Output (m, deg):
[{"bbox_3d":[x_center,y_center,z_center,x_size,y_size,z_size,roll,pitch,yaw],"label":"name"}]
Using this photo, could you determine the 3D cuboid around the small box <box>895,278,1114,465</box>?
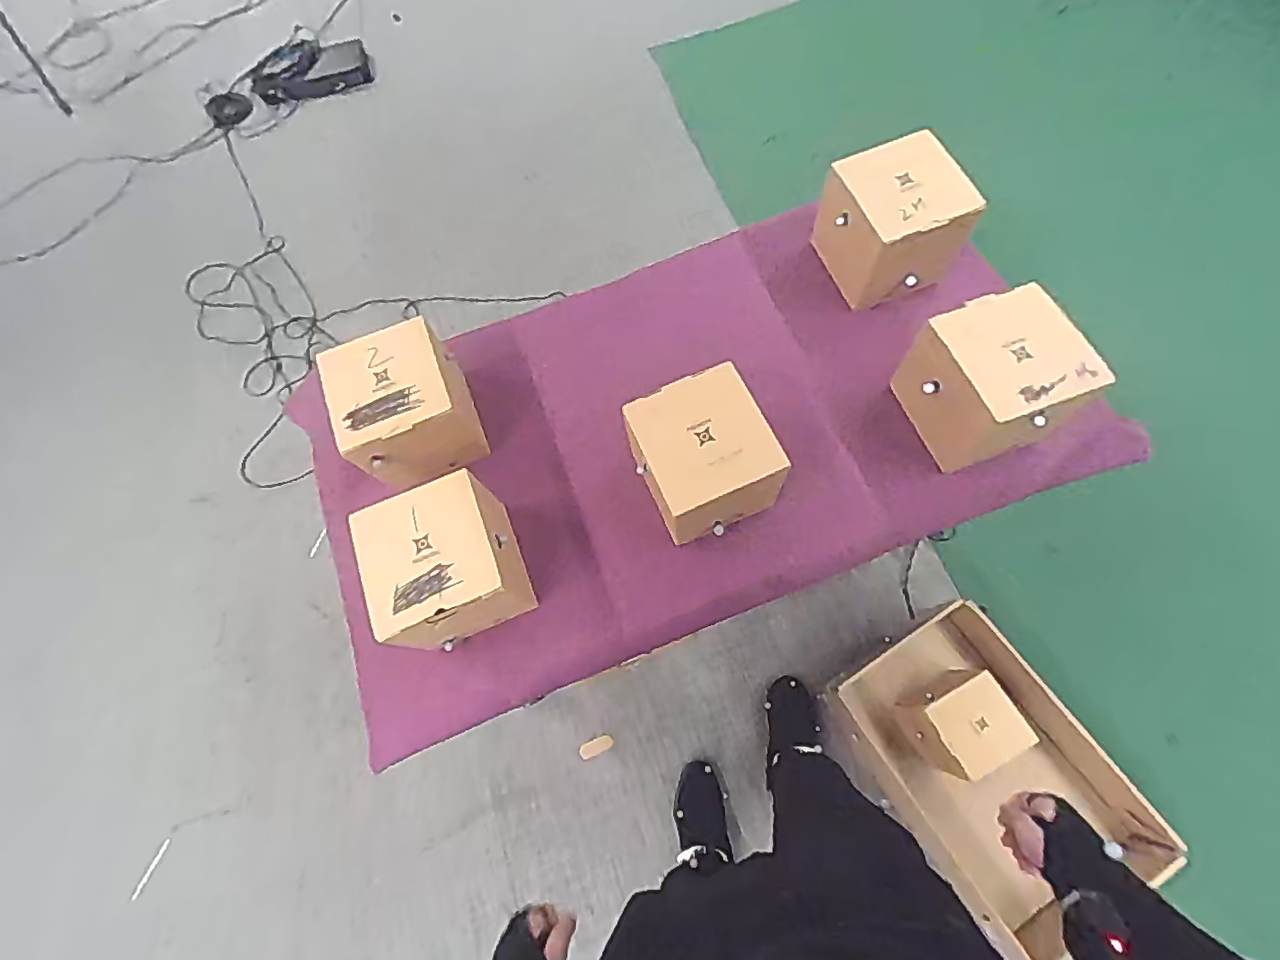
[{"bbox_3d":[0.504,-0.149,0.784,0.168,0.176,0.179,-20,67,-1],"label":"small box"}]

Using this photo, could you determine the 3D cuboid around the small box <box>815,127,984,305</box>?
[{"bbox_3d":[0.411,-0.428,0.895,0.168,0.176,0.179,-21,70,0],"label":"small box"}]

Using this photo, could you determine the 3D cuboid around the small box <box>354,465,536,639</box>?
[{"bbox_3d":[-0.261,0.111,0.757,0.168,0.176,0.179,-23,68,-4],"label":"small box"}]

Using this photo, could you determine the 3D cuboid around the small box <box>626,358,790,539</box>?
[{"bbox_3d":[0.092,-0.037,0.783,0.168,0.176,0.179,-23,69,-3],"label":"small box"}]

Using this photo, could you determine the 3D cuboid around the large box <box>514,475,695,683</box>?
[{"bbox_3d":[-0.080,0.266,1.393,0.320,0.320,0.408,-23,68,-5],"label":"large box"}]
